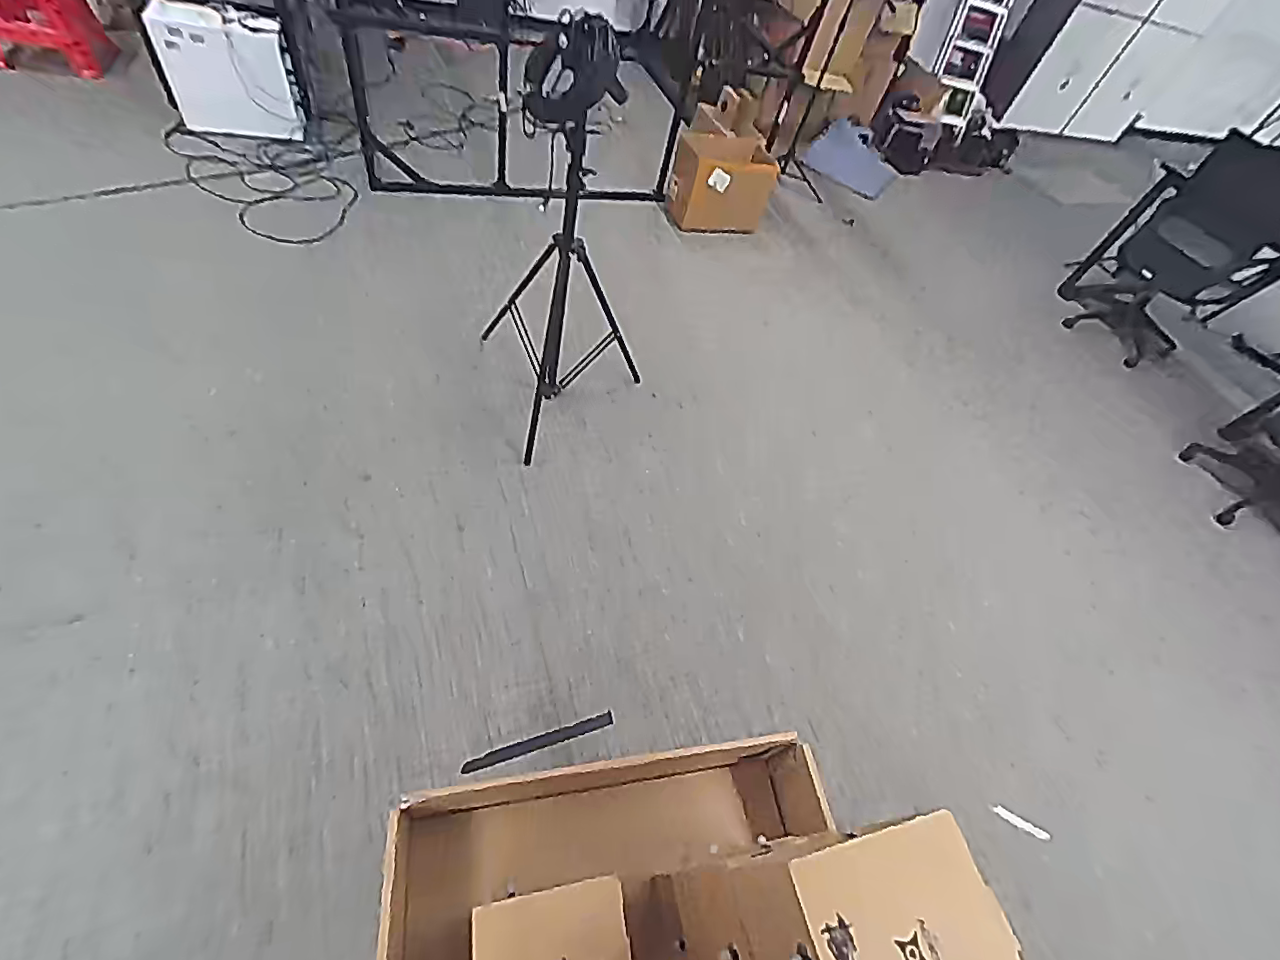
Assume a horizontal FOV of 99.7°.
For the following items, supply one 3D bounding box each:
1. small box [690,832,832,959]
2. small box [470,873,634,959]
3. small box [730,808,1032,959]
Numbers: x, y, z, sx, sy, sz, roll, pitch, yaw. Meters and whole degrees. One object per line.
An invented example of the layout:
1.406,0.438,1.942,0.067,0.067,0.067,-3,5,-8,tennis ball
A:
0.171,0.513,0.604,0.168,0.176,0.179,-3,54,-17,small box
-0.106,0.585,0.636,0.179,0.176,0.168,0,53,-17,small box
0.206,0.412,0.480,0.179,0.176,0.168,-4,53,-18,small box
